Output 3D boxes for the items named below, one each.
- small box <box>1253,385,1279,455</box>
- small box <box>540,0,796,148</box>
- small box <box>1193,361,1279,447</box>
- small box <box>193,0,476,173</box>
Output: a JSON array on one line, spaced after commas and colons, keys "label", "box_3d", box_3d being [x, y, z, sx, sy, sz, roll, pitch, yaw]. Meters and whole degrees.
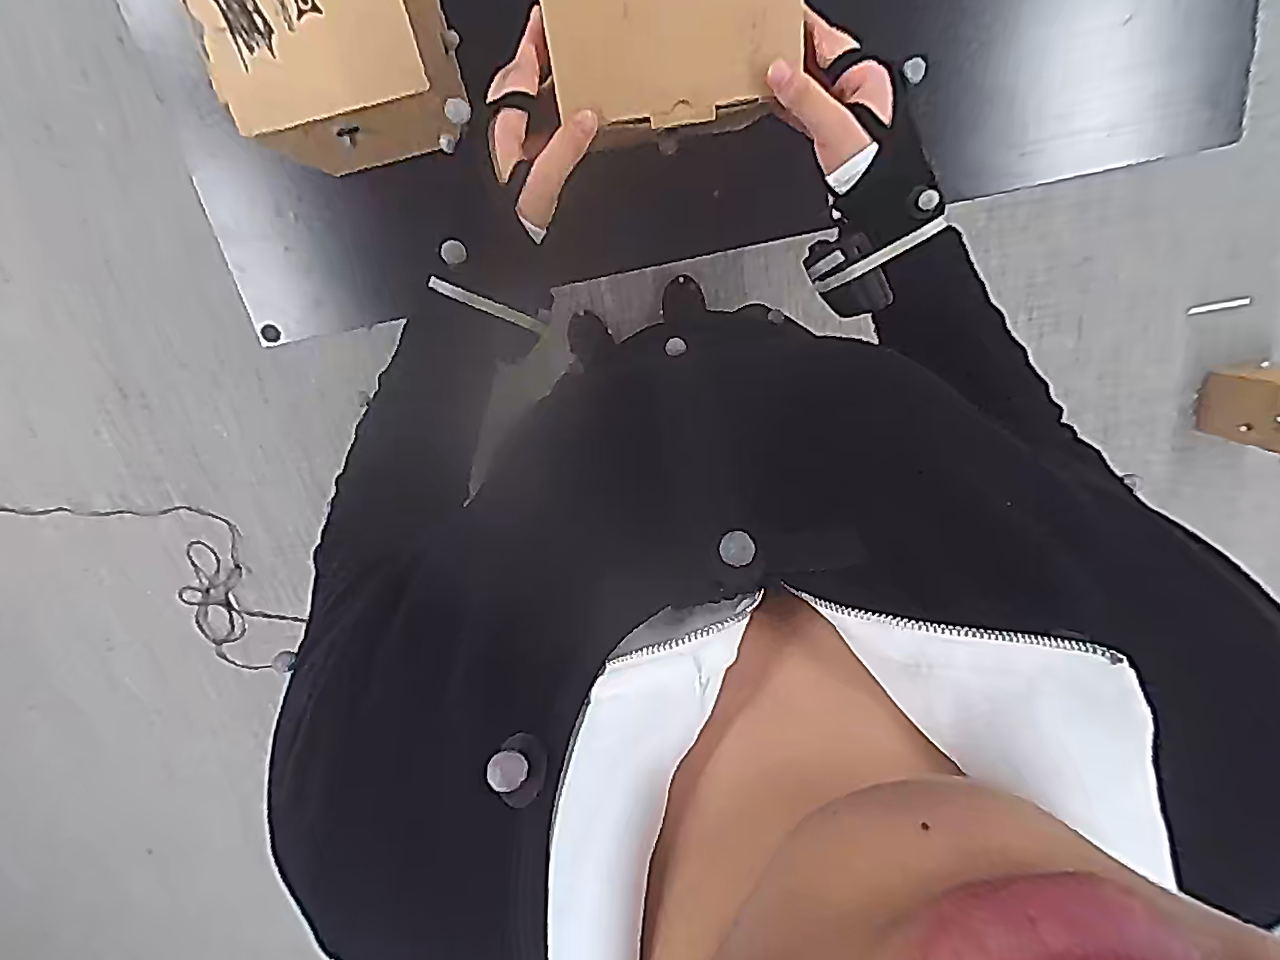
[{"label": "small box", "box_3d": [1.629, -0.141, 1.268, 0.179, 0.176, 0.168, -10, 109, 4]}, {"label": "small box", "box_3d": [0.012, -0.360, 0.405, 0.168, 0.176, 0.179, -9, 118, 0]}, {"label": "small box", "box_3d": [1.621, -0.203, 1.419, 0.168, 0.176, 0.179, -9, 110, 2]}, {"label": "small box", "box_3d": [-0.286, -0.423, 0.531, 0.179, 0.176, 0.168, -13, 109, 2]}]
